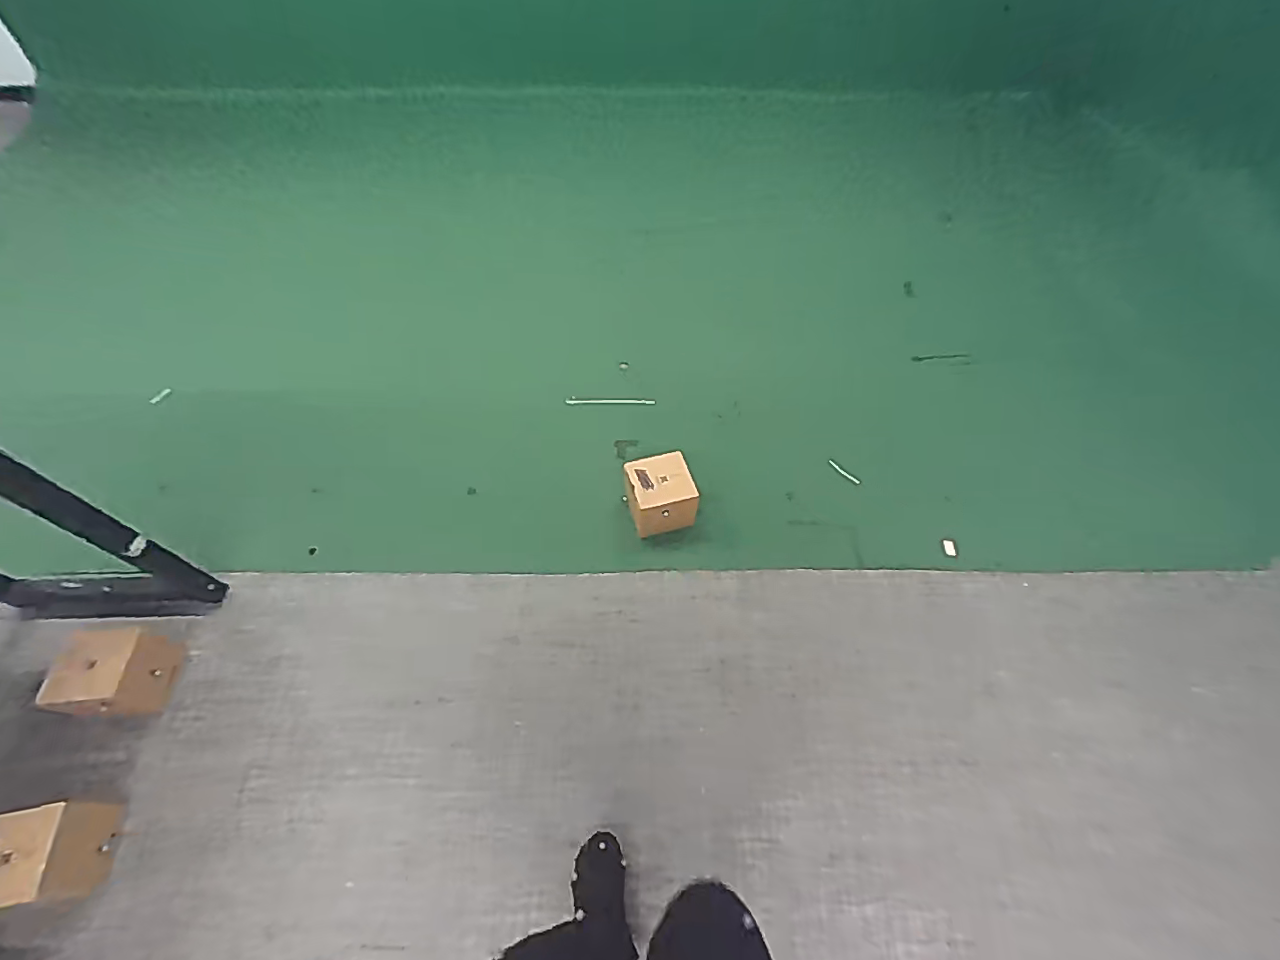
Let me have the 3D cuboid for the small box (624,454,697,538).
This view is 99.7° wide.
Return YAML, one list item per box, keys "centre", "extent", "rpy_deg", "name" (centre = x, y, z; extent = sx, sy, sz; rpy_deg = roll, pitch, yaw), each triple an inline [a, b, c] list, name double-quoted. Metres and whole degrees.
- centre: [0.057, 0.052, 1.603]
  extent: [0.179, 0.176, 0.168]
  rpy_deg: [-14, 58, -10]
  name: "small box"

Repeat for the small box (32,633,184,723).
- centre: [-1.278, 0.484, 1.318]
  extent: [0.179, 0.176, 0.168]
  rpy_deg: [-5, 56, -3]
  name: "small box"
